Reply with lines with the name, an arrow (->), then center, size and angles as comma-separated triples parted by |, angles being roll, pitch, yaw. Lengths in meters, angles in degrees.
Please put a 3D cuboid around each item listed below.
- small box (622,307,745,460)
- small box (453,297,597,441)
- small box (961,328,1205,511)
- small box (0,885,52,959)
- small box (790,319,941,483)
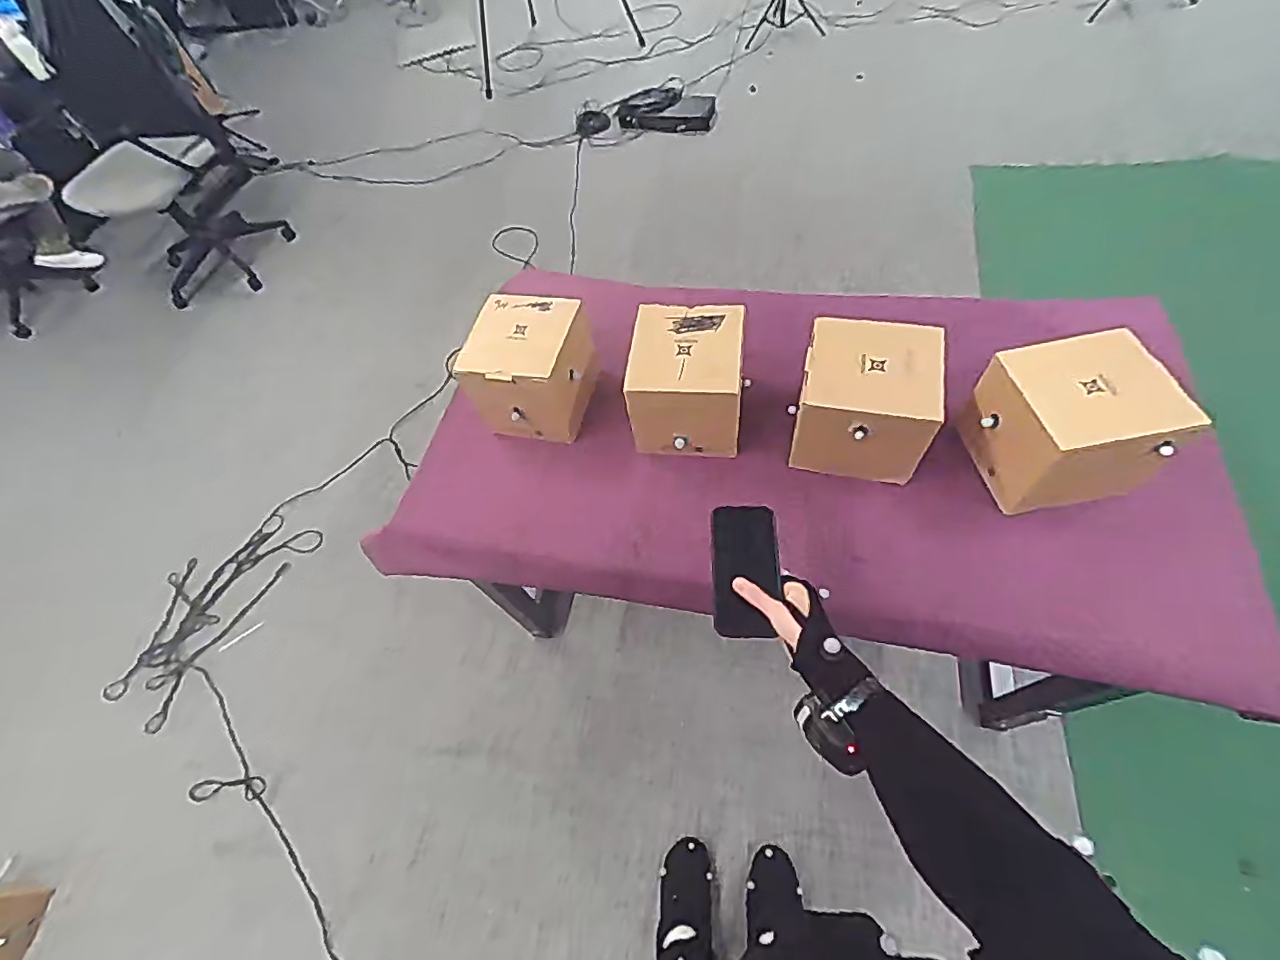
small box -> 0.077, -0.153, 0.867 | 0.168, 0.176, 0.179 | 3, 60, 11
small box -> -0.182, -0.186, 0.927 | 0.168, 0.176, 0.179 | 8, 61, 14
small box -> 0.573, -0.075, 0.740 | 0.179, 0.176, 0.168 | -11, 57, 2
small box -> -1.547, 1.050, 1.245 | 0.179, 0.176, 0.168 | -1, 59, 9
small box -> 0.326, -0.113, 0.804 | 0.179, 0.176, 0.168 | 10, 62, 15
